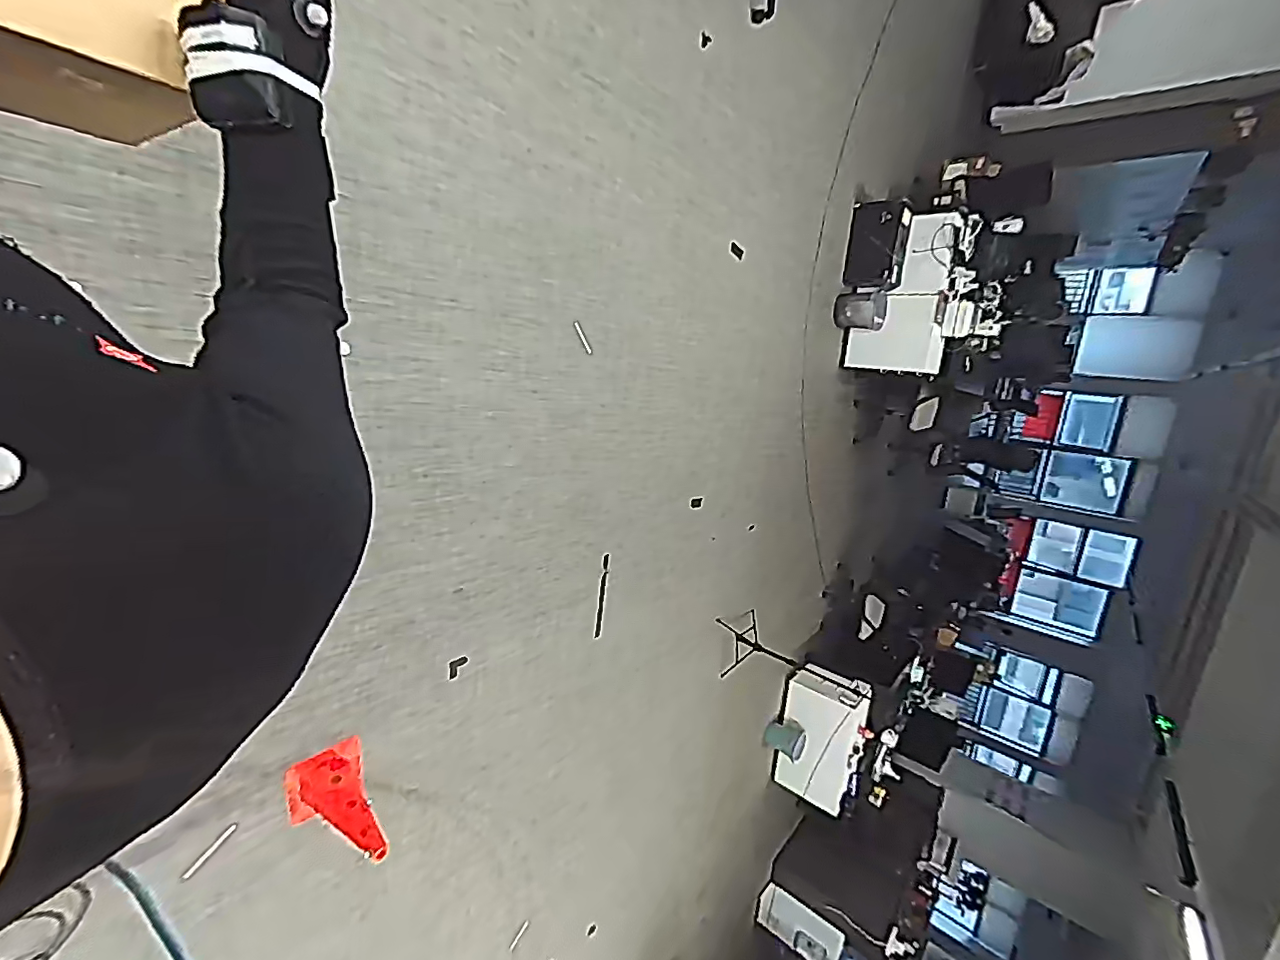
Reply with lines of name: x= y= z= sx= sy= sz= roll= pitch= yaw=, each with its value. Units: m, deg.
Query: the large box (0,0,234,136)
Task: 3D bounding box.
large box: x=-0.519 y=-0.440 z=0.290 sx=0.408 sy=0.320 sz=0.320 roll=-11 pitch=114 yaw=-52

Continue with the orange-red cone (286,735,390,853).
orange-red cone: x=-0.801 y=0.912 z=1.500 sx=0.198 sy=0.360 sz=0.199 roll=-13 pitch=111 yaw=-50
